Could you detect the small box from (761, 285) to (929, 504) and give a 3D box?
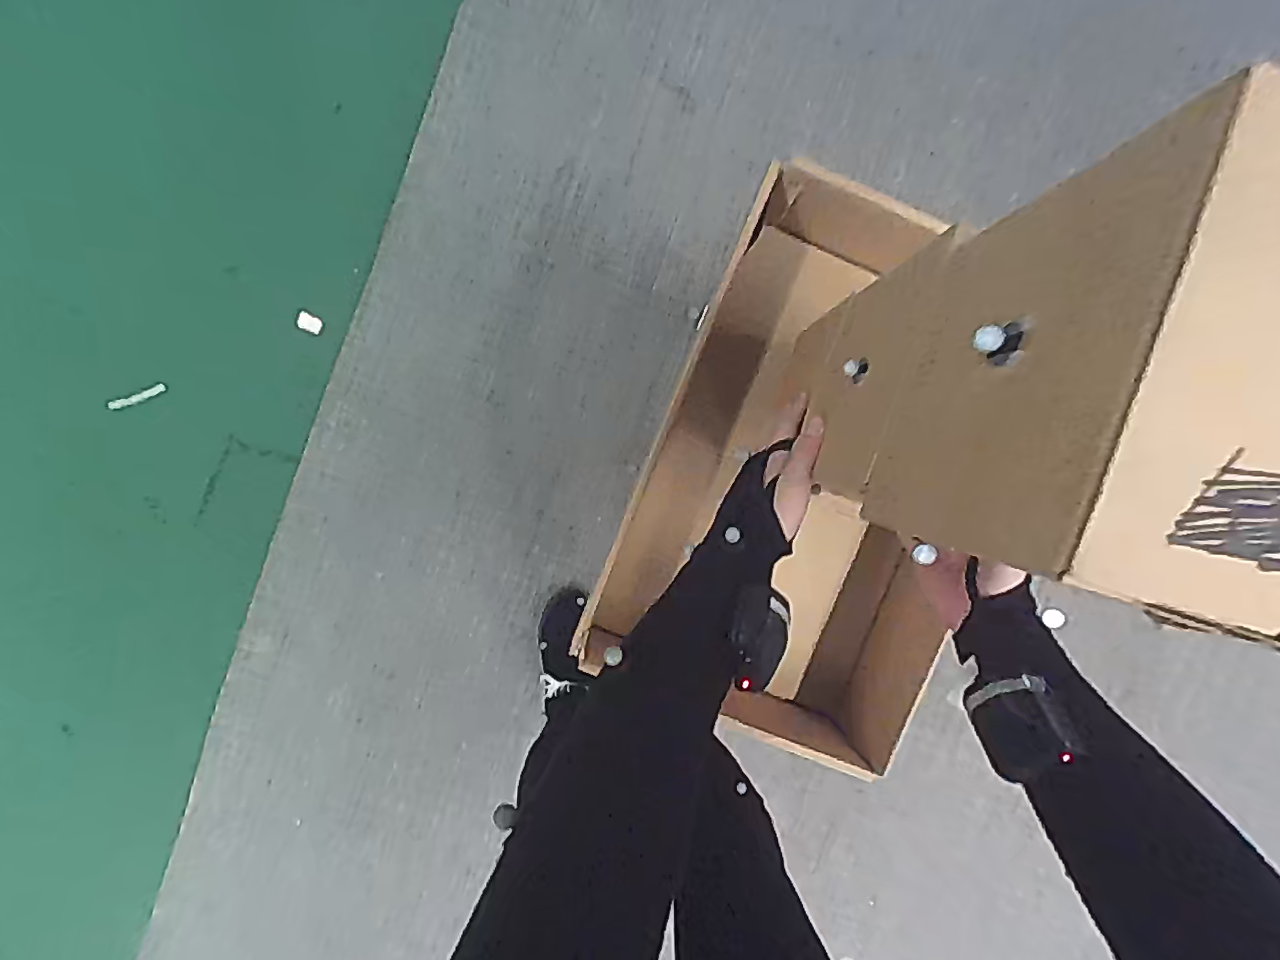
[{"bbox_3d":[0.244,-0.076,0.576,0.168,0.176,0.179,19,94,-2],"label":"small box"}]

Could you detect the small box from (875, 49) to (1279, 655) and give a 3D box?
[{"bbox_3d":[0.237,-0.032,0.251,0.168,0.176,0.179,17,93,-1],"label":"small box"}]
